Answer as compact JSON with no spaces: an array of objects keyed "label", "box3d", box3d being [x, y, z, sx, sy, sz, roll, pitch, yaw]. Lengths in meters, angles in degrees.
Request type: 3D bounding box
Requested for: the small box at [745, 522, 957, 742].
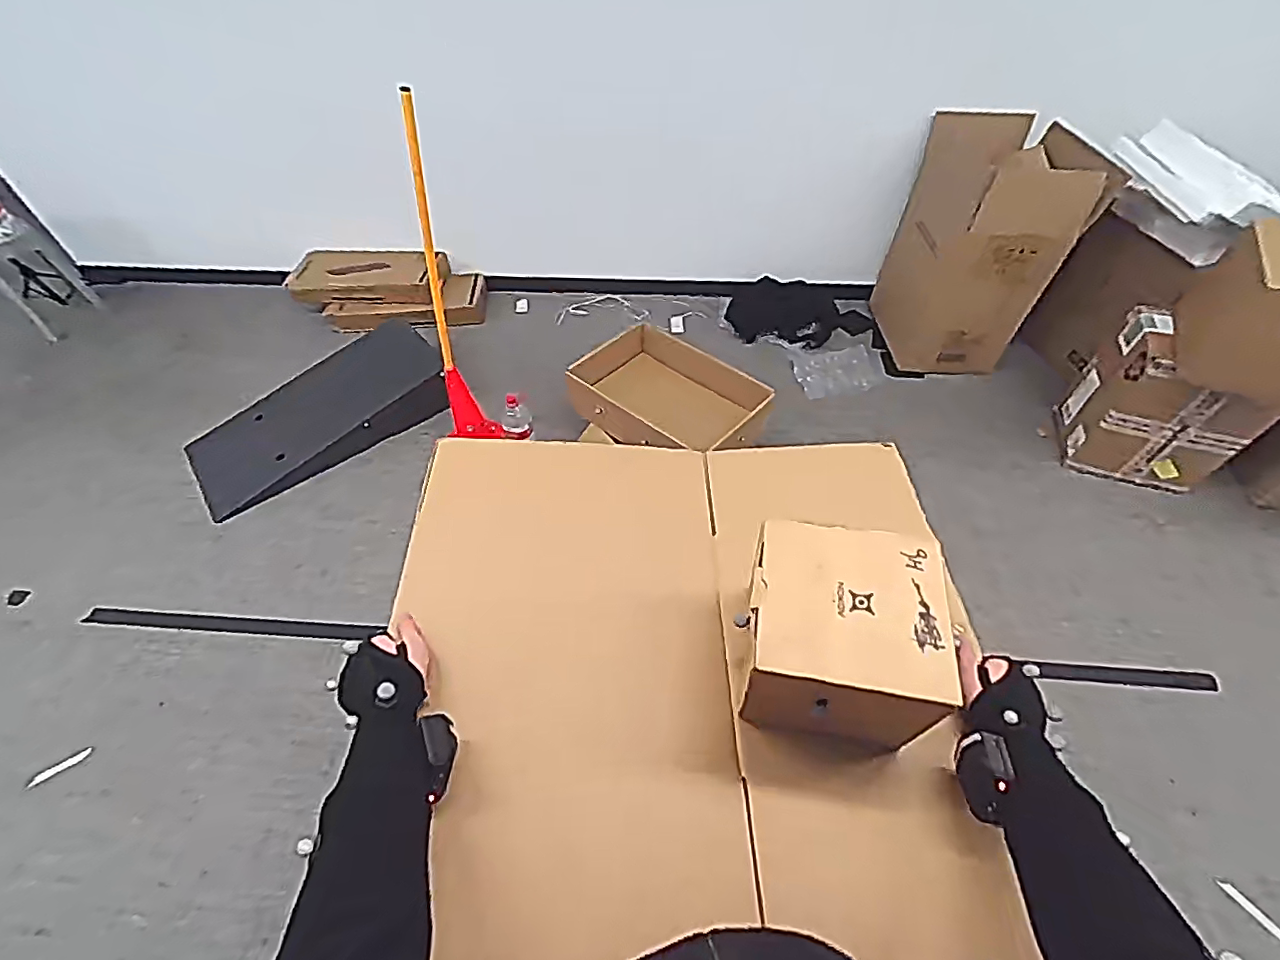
[{"label":"small box","box3d":[0.210,0.167,0.585,0.179,0.176,0.168,7,53,11]}]
